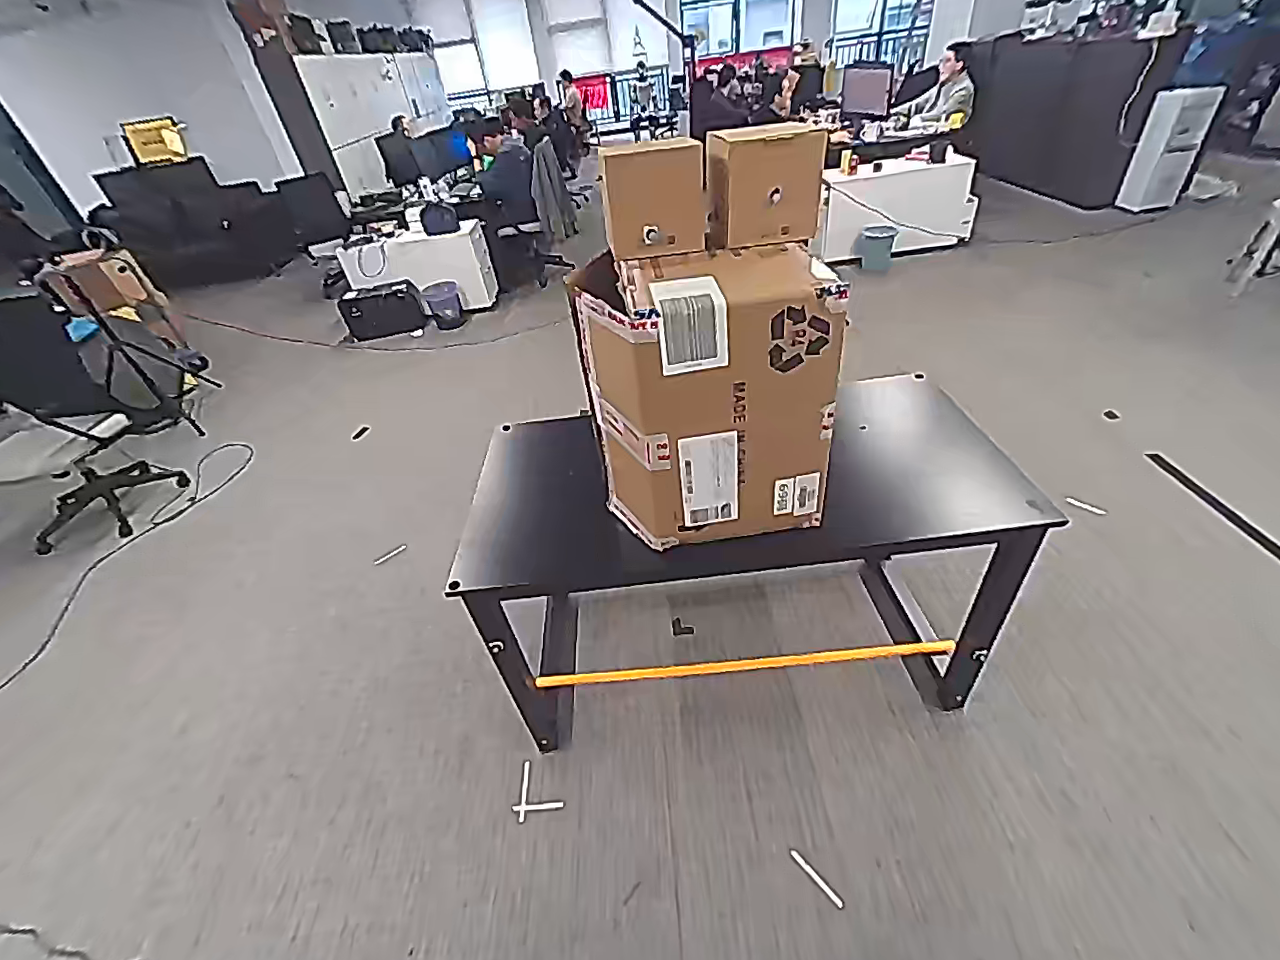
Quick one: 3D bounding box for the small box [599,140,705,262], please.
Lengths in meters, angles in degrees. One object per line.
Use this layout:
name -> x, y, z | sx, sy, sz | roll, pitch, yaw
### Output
small box -> 0.020, -0.510, 0.989 | 0.168, 0.176, 0.179 | -10, 36, -2

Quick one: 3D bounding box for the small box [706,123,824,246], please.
small box -> 0.218, -0.535, 0.987 | 0.168, 0.176, 0.179 | -7, 38, -3
